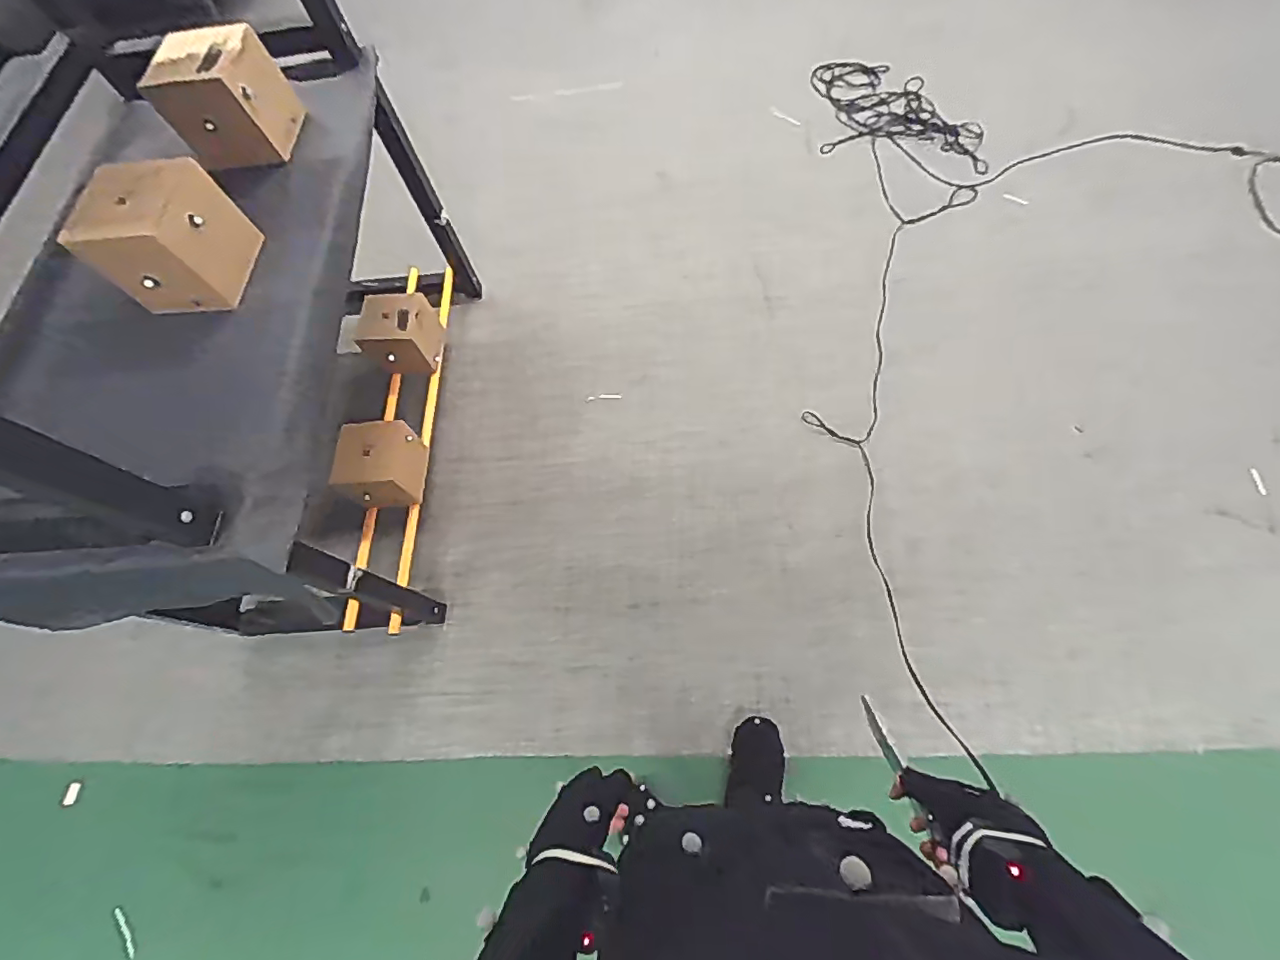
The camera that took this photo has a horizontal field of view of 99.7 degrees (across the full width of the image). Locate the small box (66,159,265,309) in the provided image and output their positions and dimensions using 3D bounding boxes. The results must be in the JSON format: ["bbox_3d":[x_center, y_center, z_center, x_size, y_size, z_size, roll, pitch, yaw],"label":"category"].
[{"bbox_3d":[-0.794,-0.411,0.929,0.168,0.176,0.179,-1,66,6],"label":"small box"}]

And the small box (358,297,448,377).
[{"bbox_3d":[-0.695,-0.422,1.609,0.179,0.176,0.168,0,66,6],"label":"small box"}]
